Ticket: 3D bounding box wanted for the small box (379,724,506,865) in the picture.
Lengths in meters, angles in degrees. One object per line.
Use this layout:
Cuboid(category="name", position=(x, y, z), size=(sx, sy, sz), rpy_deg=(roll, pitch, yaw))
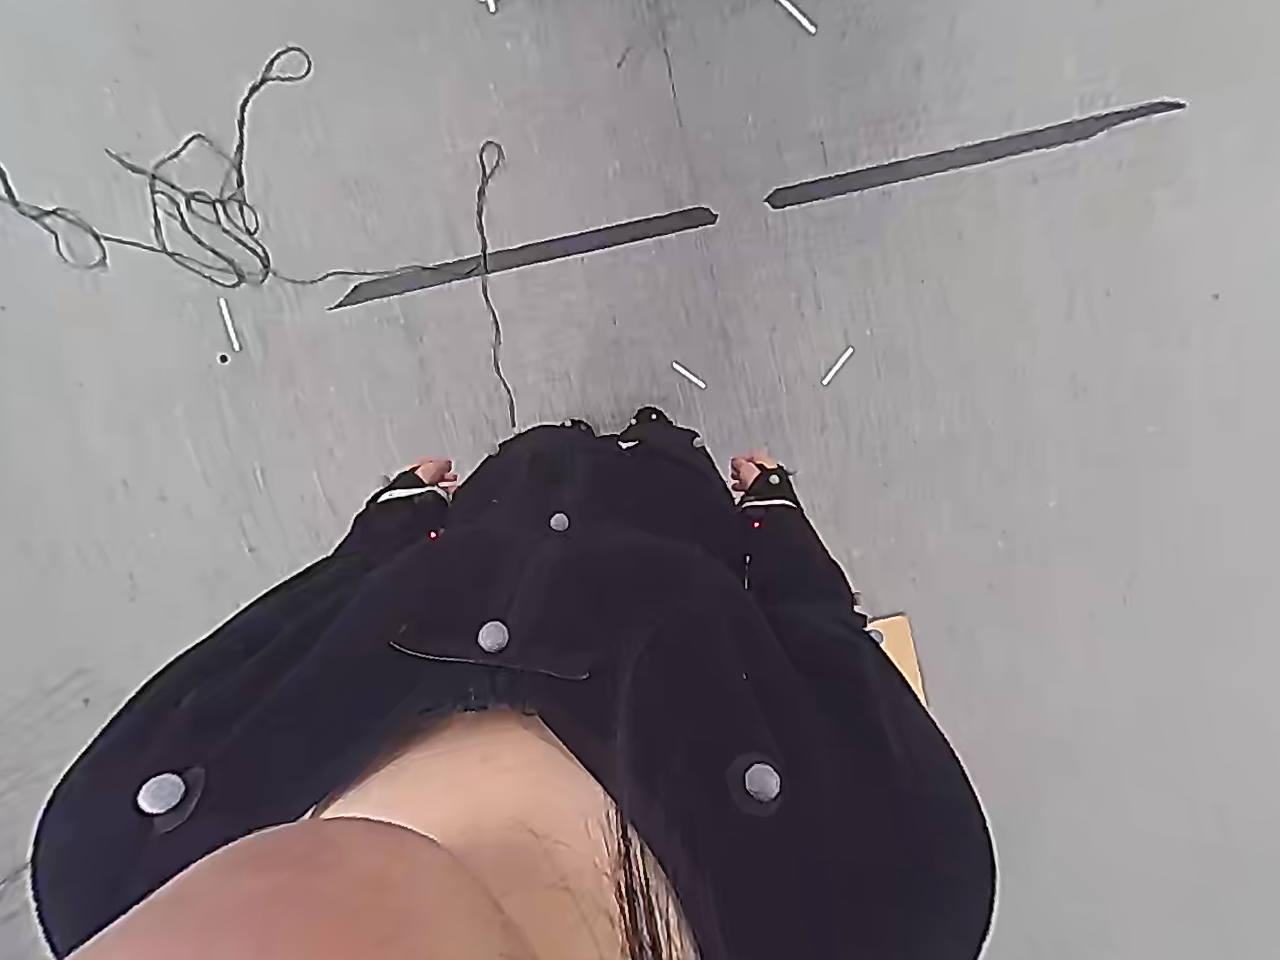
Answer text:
Cuboid(category="small box", position=(-0.420, 0.676, 1.184), size=(0.179, 0.176, 0.168), rpy_deg=(35, 95, -4))
